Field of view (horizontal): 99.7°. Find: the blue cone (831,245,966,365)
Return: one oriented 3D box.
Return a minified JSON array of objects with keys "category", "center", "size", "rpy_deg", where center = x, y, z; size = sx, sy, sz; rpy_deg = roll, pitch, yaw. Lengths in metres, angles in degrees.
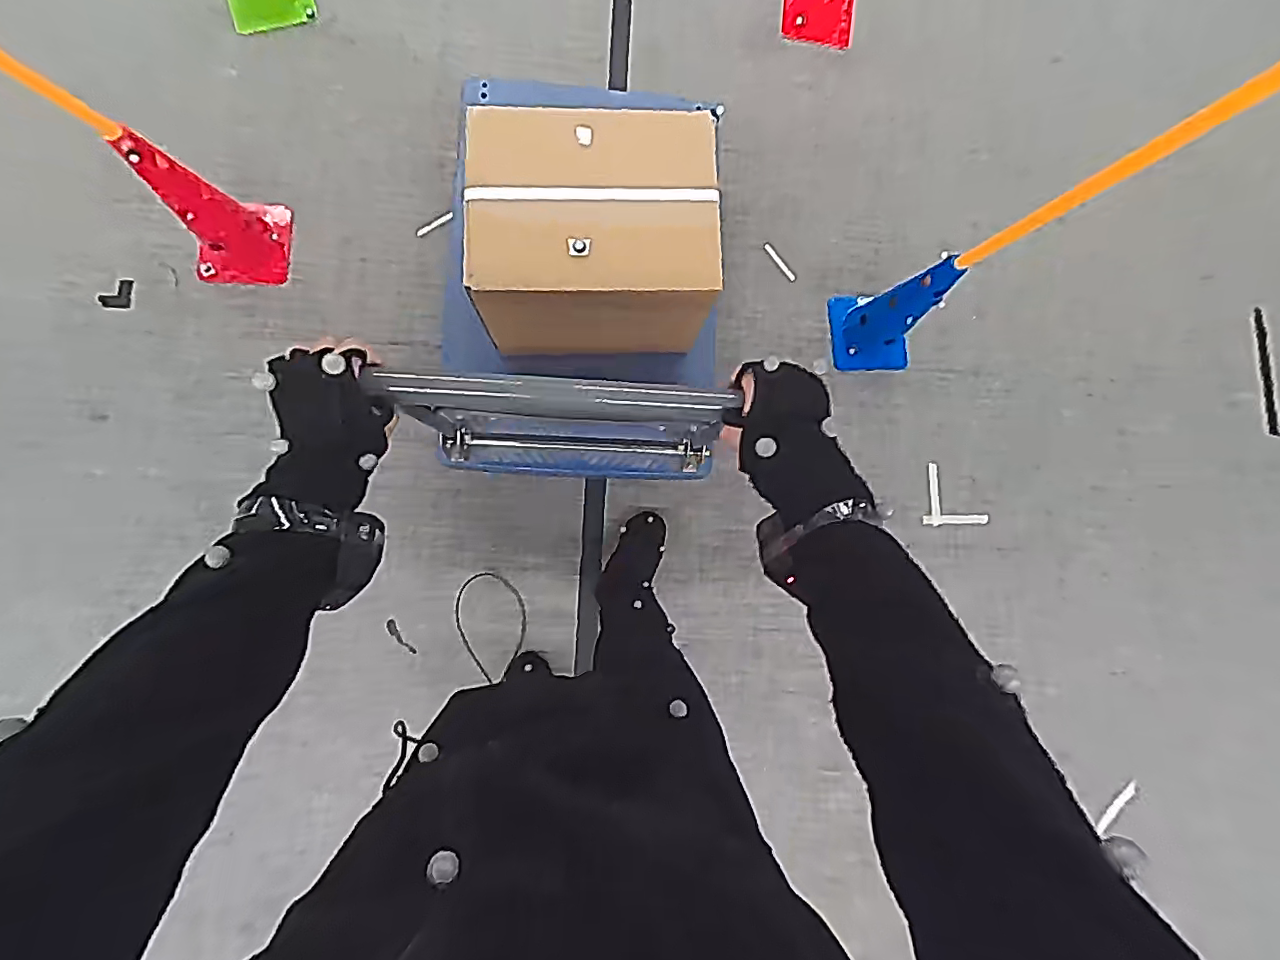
[{"category":"blue cone","center":[0.611,-0.412,1.245],"size":[0.193,0.380,0.192],"rpy_deg":[-2,83,-6]}]

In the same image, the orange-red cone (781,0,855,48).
[{"category":"orange-red cone","center":[0.511,-1.314,1.324],"size":[0.199,0.360,0.198],"rpy_deg":[9,83,-5]}]
